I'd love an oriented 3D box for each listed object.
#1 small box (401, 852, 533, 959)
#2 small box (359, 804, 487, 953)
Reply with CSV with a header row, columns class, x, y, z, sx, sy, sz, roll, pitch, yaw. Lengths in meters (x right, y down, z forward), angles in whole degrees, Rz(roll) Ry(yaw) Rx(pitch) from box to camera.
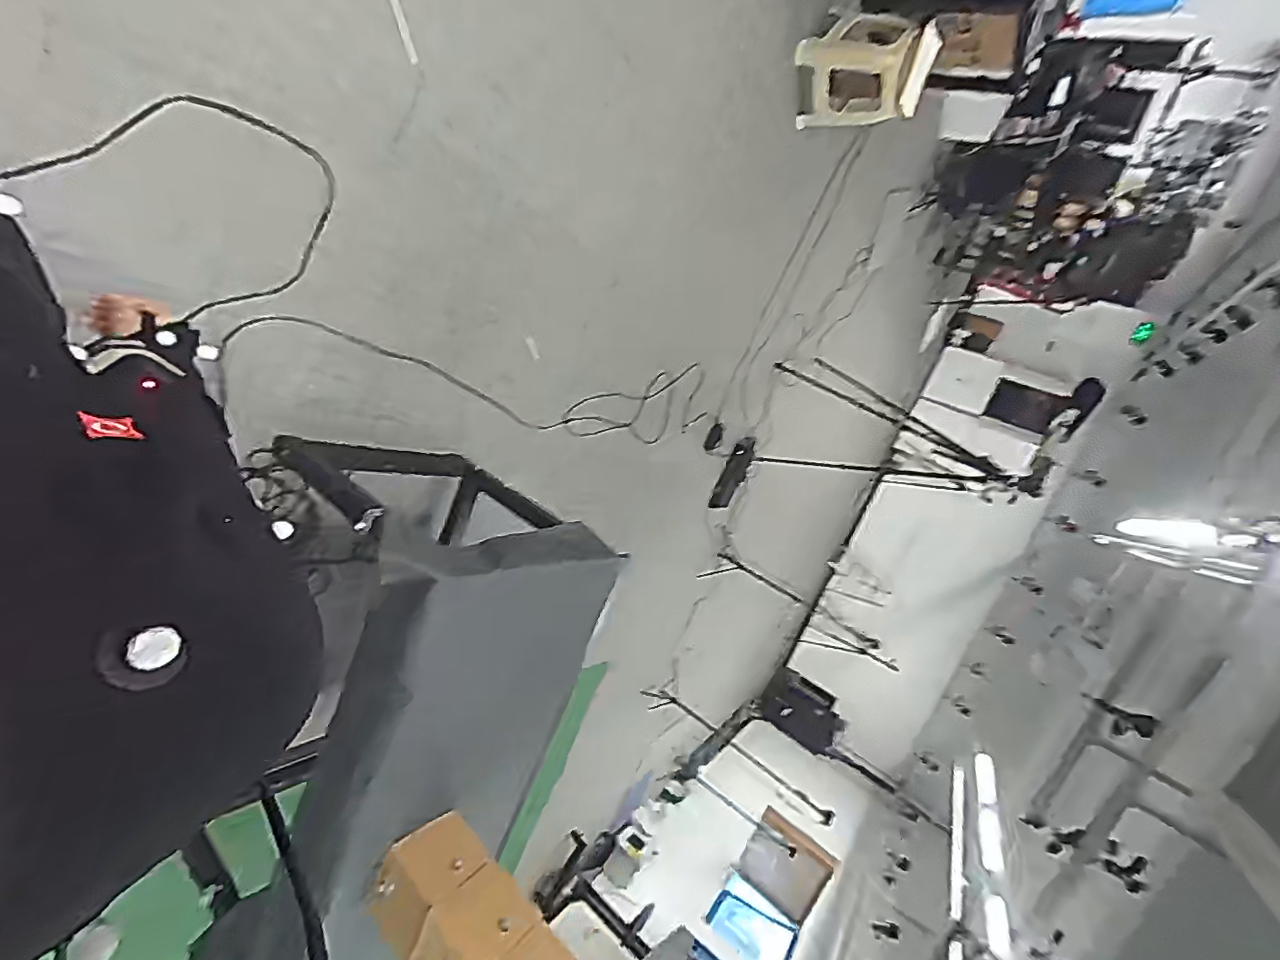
class,x,y,z,sx,sy,sz,roll,pitch,yaw
small box,-0.363,0.942,1.131,0.179,0.176,0.168,5,110,-61
small box,-0.487,0.877,1.214,0.179,0.176,0.168,8,108,-60
